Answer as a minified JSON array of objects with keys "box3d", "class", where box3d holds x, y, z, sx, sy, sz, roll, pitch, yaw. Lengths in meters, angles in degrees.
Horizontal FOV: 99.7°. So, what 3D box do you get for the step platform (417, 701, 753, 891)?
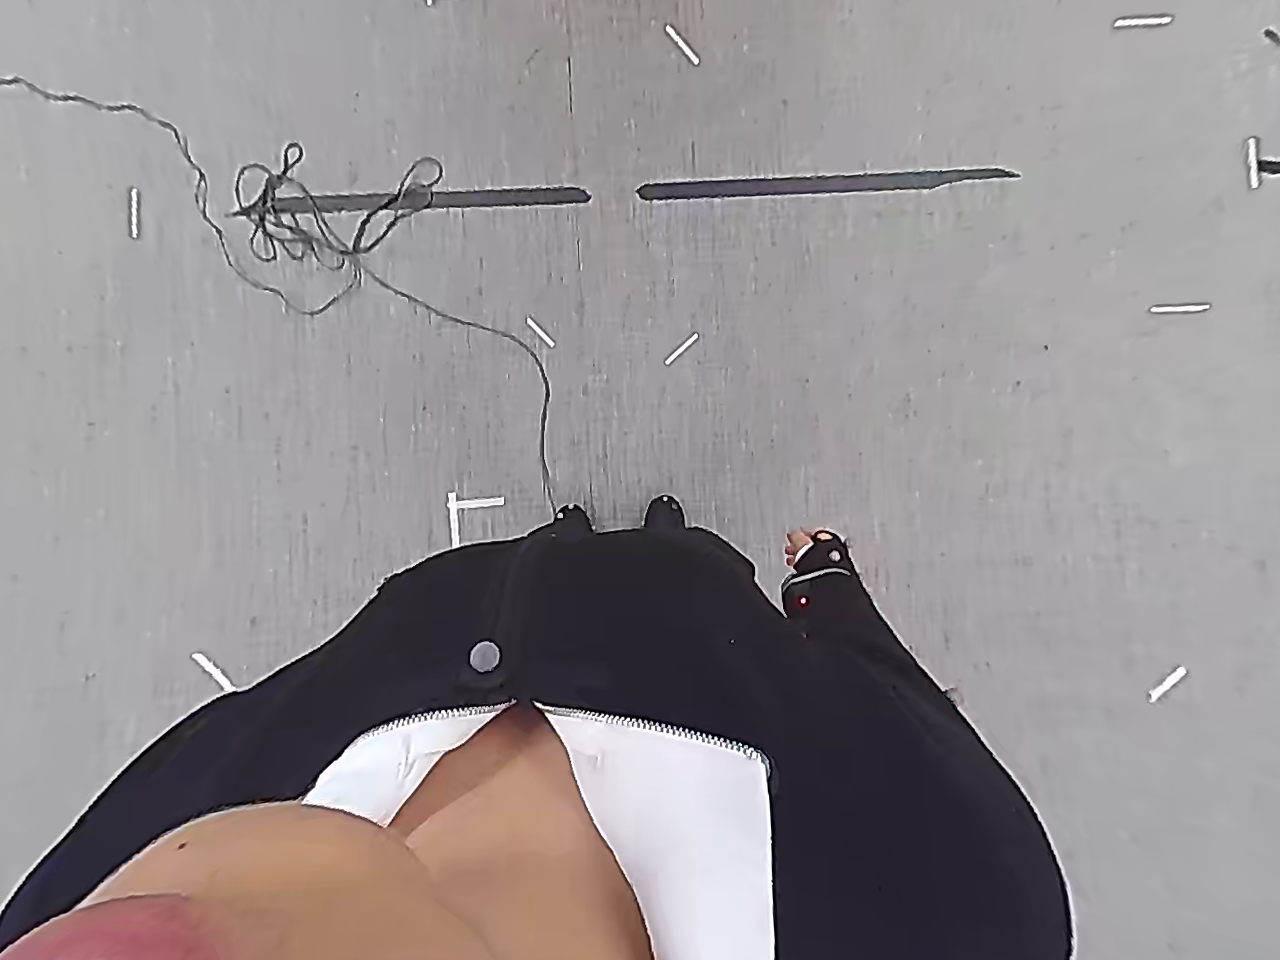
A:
[{"box3d":[-0.110,0.672,1.186,0.684,0.204,0.286,-4,89,2],"class":"step platform"}]
